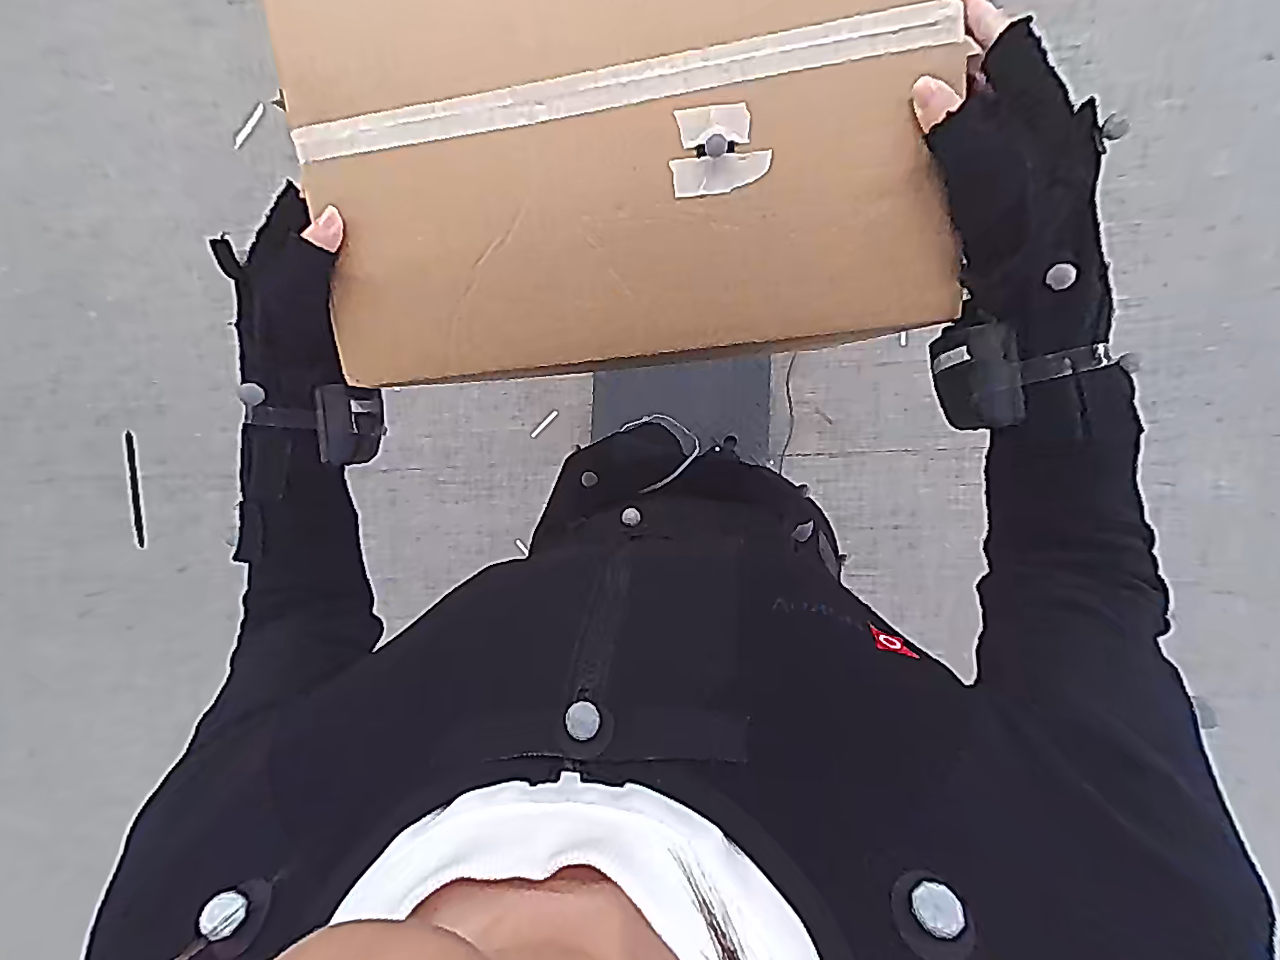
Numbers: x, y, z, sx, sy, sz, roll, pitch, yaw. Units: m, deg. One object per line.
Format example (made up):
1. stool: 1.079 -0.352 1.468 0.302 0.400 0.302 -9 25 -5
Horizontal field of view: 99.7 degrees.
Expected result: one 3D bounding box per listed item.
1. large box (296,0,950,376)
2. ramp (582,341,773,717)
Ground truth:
1. large box: -0.003 -0.273 0.484 0.408 0.320 0.320 -5 101 8
2. ramp: 0.102 0.101 1.464 0.509 0.206 0.991 0 93 10
